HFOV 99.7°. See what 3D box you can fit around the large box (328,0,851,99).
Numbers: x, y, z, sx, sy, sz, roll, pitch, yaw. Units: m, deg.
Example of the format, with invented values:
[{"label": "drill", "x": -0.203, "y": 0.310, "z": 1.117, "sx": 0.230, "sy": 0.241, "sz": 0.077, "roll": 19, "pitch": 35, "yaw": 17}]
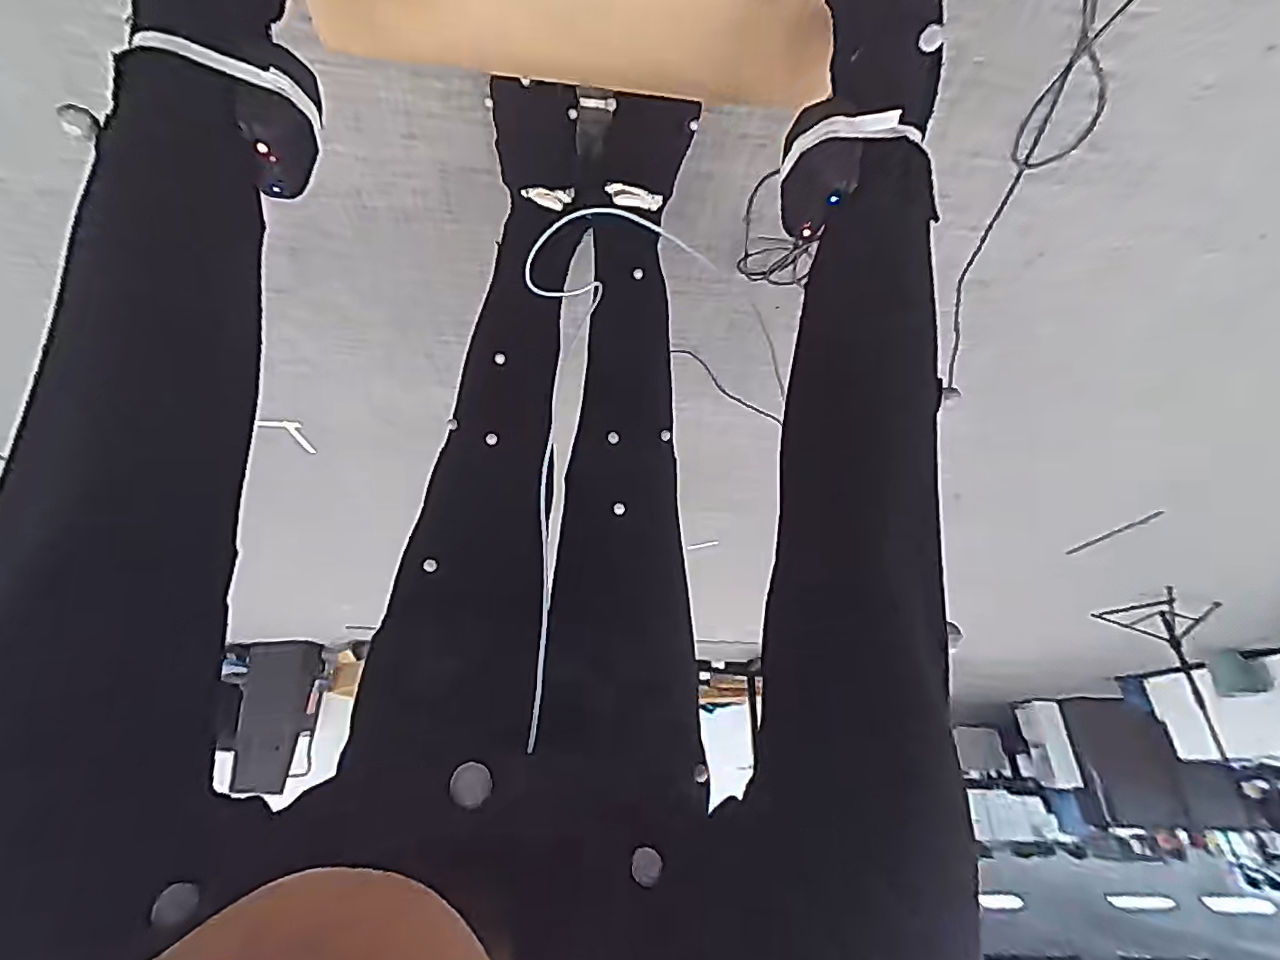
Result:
[{"label": "large box", "x": -0.028, "y": -0.542, "z": 0.399, "sx": 0.408, "sy": 0.320, "sz": 0.320, "roll": 4, "pitch": 149, "yaw": -4}]
